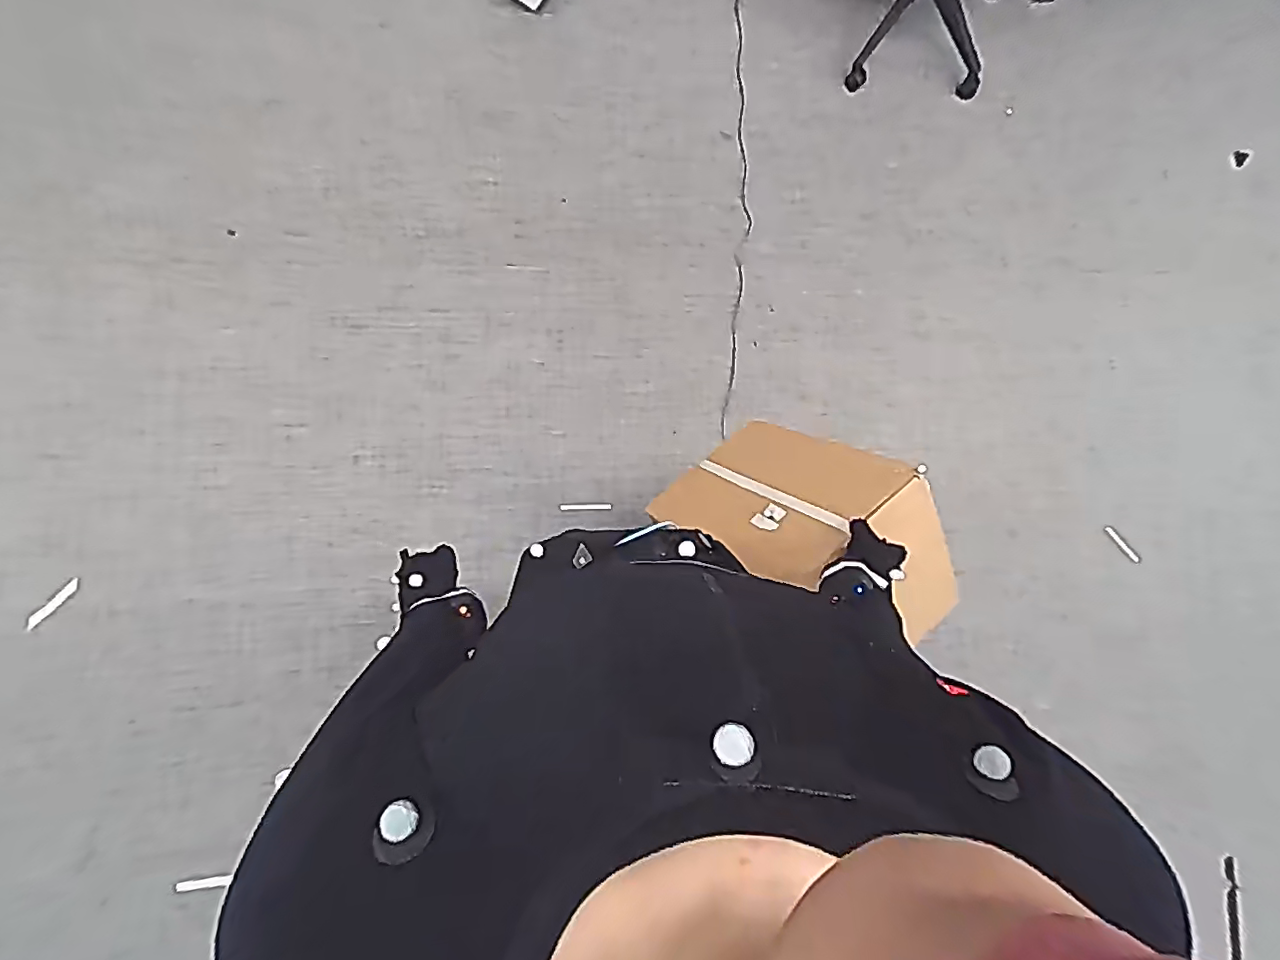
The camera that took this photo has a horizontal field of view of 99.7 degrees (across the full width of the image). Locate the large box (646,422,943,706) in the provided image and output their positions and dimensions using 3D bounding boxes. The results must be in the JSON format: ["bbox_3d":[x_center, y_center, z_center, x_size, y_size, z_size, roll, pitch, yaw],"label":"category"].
[{"bbox_3d":[0.281,0.131,1.036,0.320,0.408,0.320,-38,121,-12],"label":"large box"}]
